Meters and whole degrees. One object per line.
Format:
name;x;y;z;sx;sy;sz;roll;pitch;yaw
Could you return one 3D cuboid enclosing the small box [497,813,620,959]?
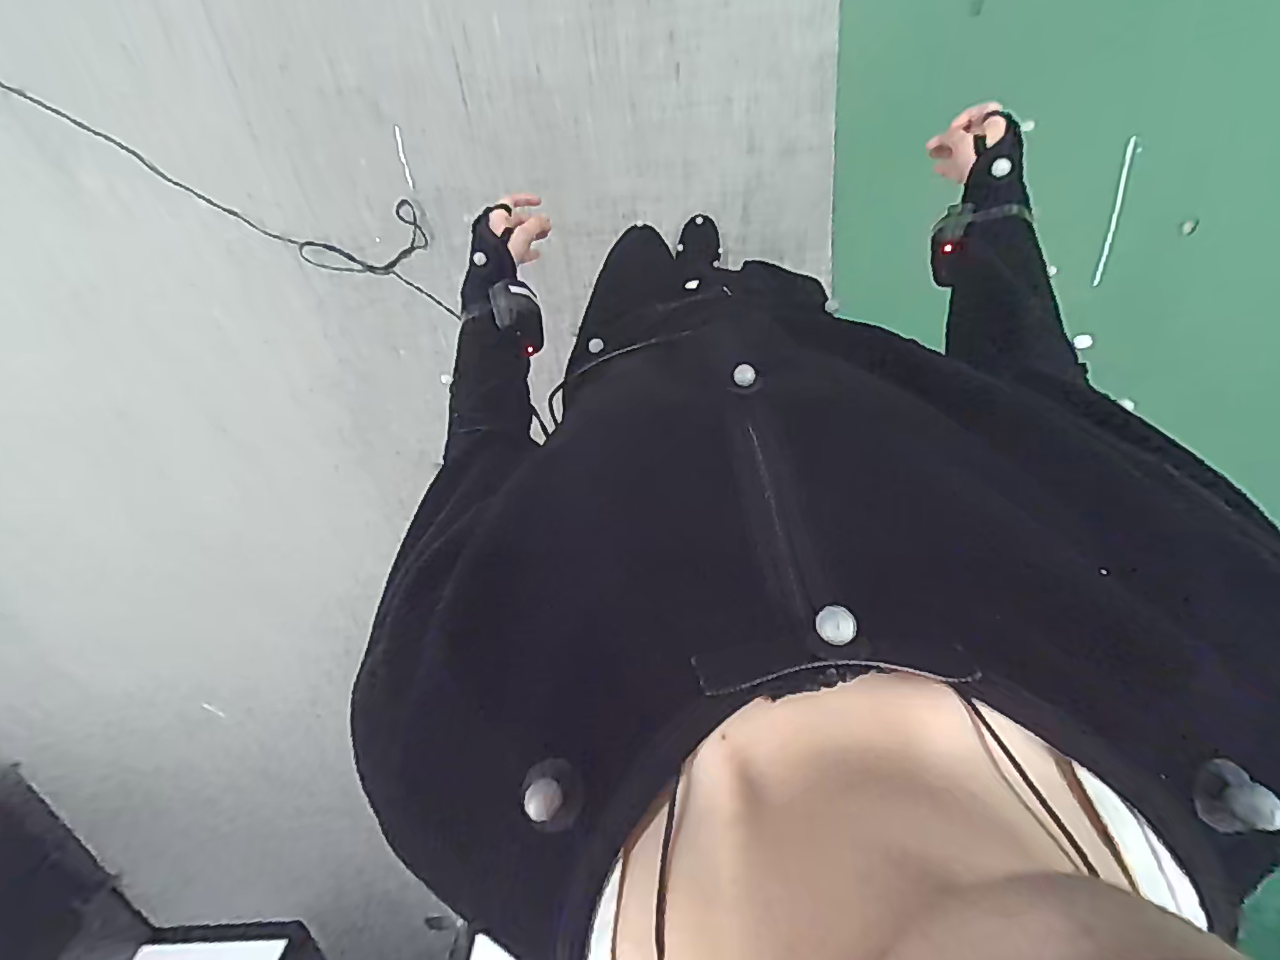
small box;-0.155;0.812;1.085;0.179;0.176;0.168;-33;110;15
